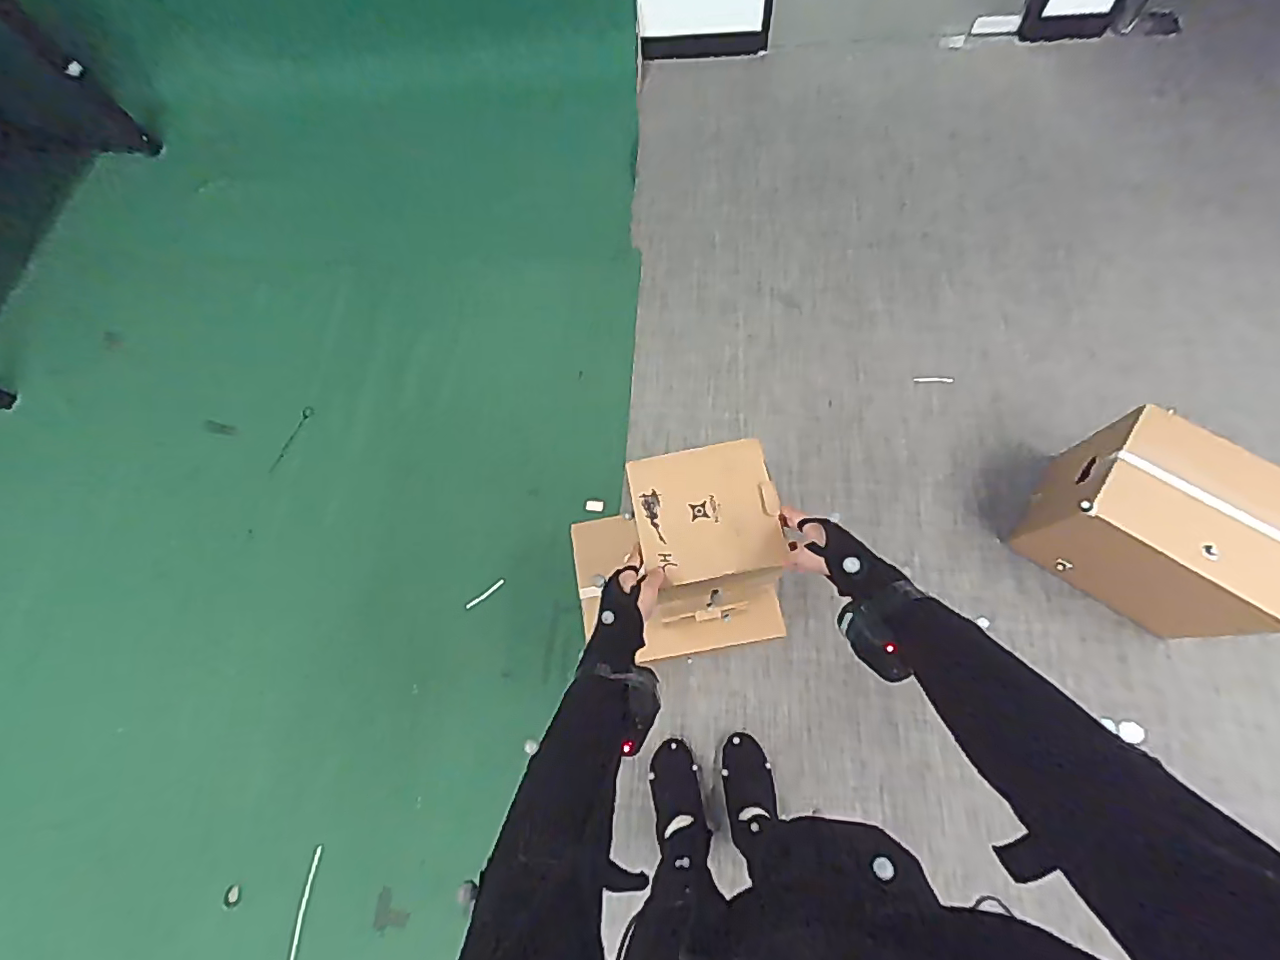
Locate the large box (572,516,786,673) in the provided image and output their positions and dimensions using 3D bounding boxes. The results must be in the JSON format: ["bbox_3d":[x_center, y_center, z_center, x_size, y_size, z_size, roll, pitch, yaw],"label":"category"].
[{"bbox_3d":[0.087,0.256,1.269,0.408,0.320,0.320,-12,68,2],"label":"large box"}]

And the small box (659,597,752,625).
[{"bbox_3d":[0.110,0.176,1.035,0.168,0.176,0.179,-10,69,1],"label":"small box"}]

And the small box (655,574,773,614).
[{"bbox_3d":[0.100,0.117,0.883,0.179,0.176,0.168,-12,70,1],"label":"small box"}]

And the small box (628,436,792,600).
[{"bbox_3d":[0.084,0.060,0.729,0.179,0.176,0.168,-10,70,0],"label":"small box"}]
